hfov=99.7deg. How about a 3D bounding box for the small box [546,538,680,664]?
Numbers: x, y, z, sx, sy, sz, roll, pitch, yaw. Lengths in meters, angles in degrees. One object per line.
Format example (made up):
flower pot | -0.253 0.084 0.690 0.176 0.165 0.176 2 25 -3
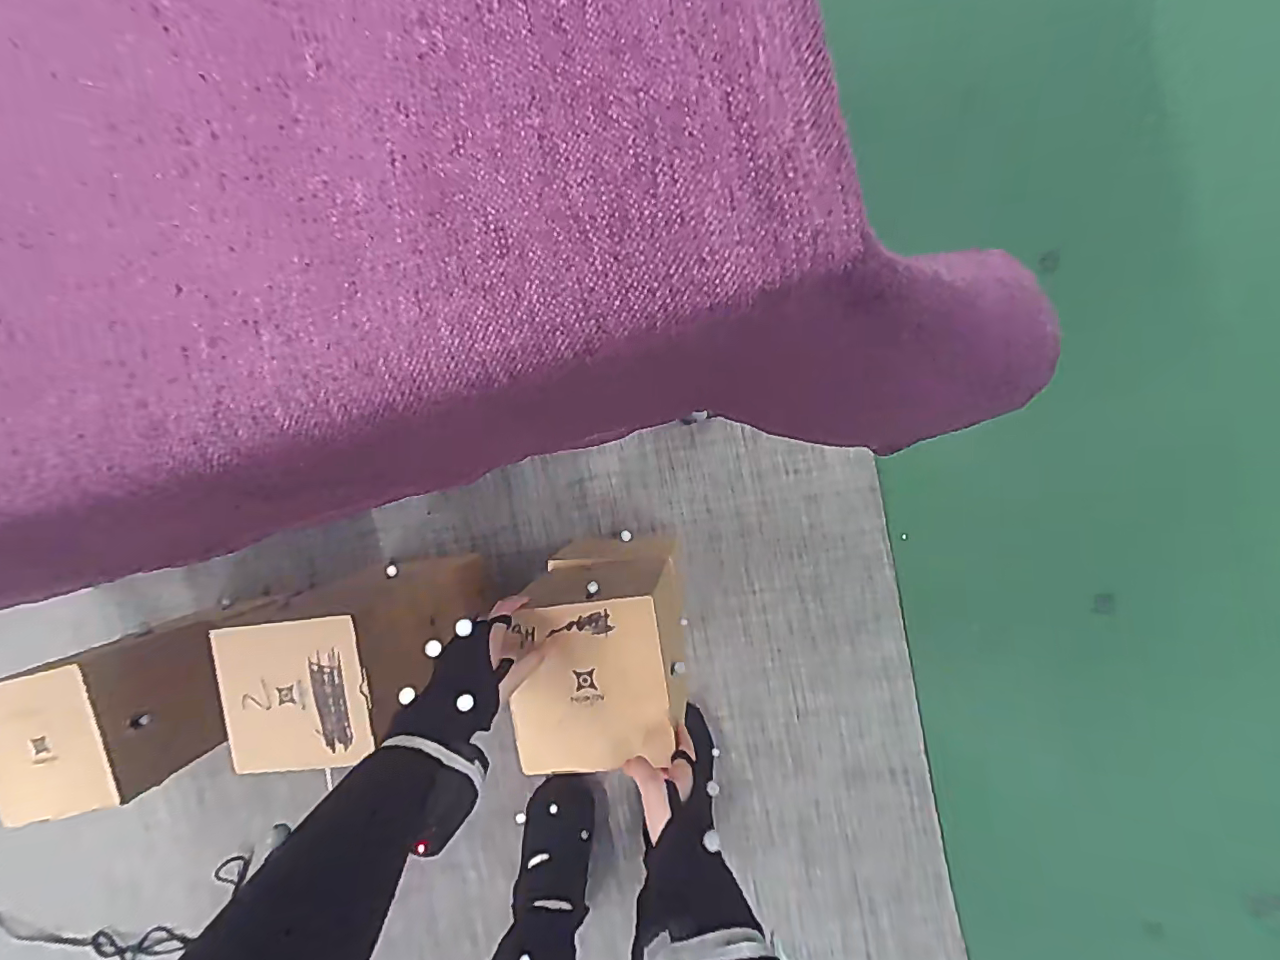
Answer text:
small box | -0.030 0.186 0.788 0.168 0.176 0.179 -3 92 7

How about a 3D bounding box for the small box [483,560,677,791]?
small box | -0.054 0.210 0.619 0.168 0.176 0.179 -14 95 5
